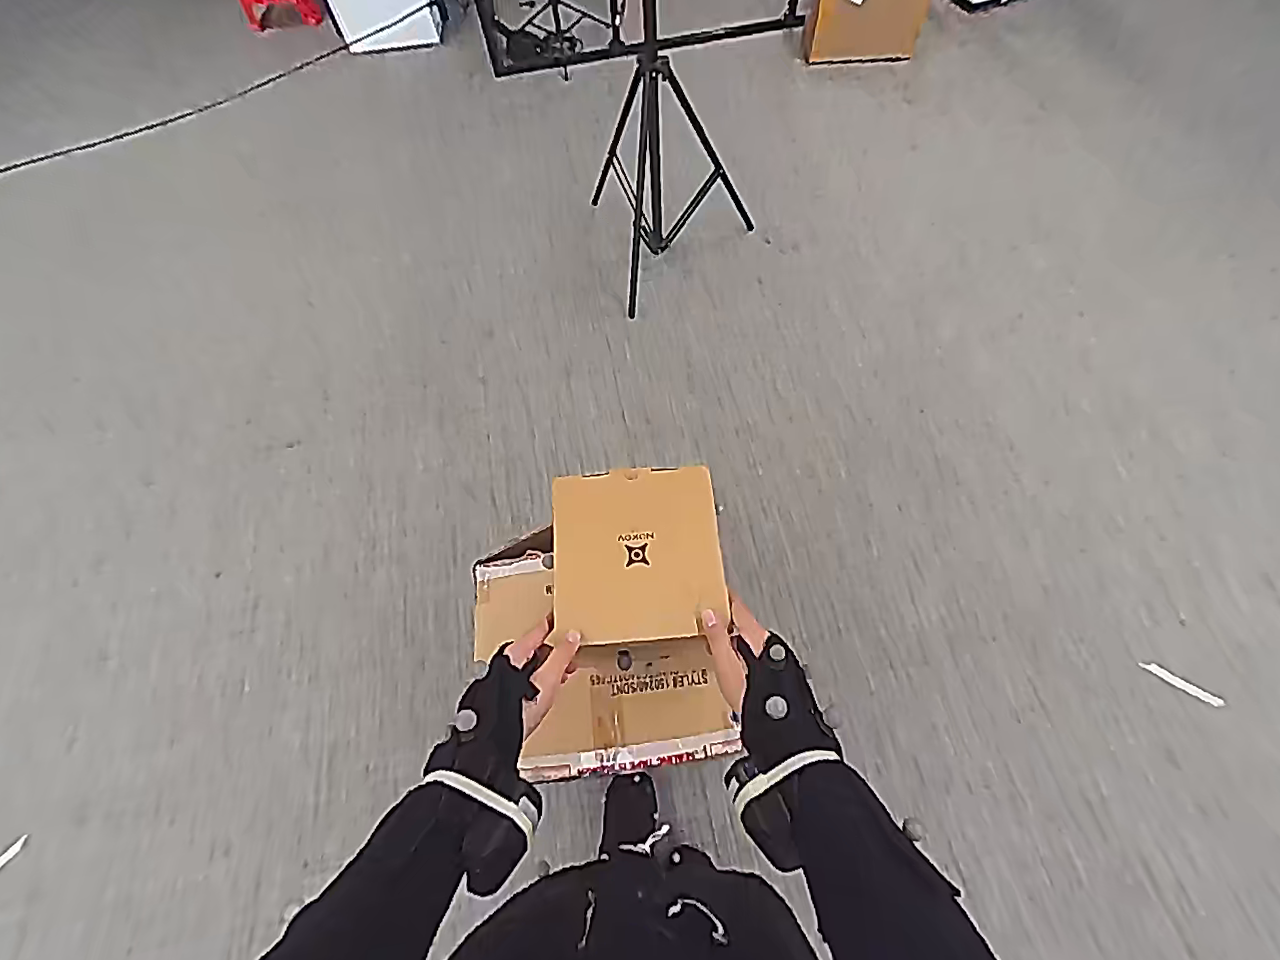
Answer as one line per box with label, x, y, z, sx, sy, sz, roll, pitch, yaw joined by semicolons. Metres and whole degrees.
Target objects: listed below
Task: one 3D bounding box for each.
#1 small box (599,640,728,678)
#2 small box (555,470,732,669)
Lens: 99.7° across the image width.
small box;0.020;0.180;0.761;0.179;0.176;0.168;-4;64;0
small box;0.002;0.108;0.599;0.168;0.176;0.179;-5;63;-1
